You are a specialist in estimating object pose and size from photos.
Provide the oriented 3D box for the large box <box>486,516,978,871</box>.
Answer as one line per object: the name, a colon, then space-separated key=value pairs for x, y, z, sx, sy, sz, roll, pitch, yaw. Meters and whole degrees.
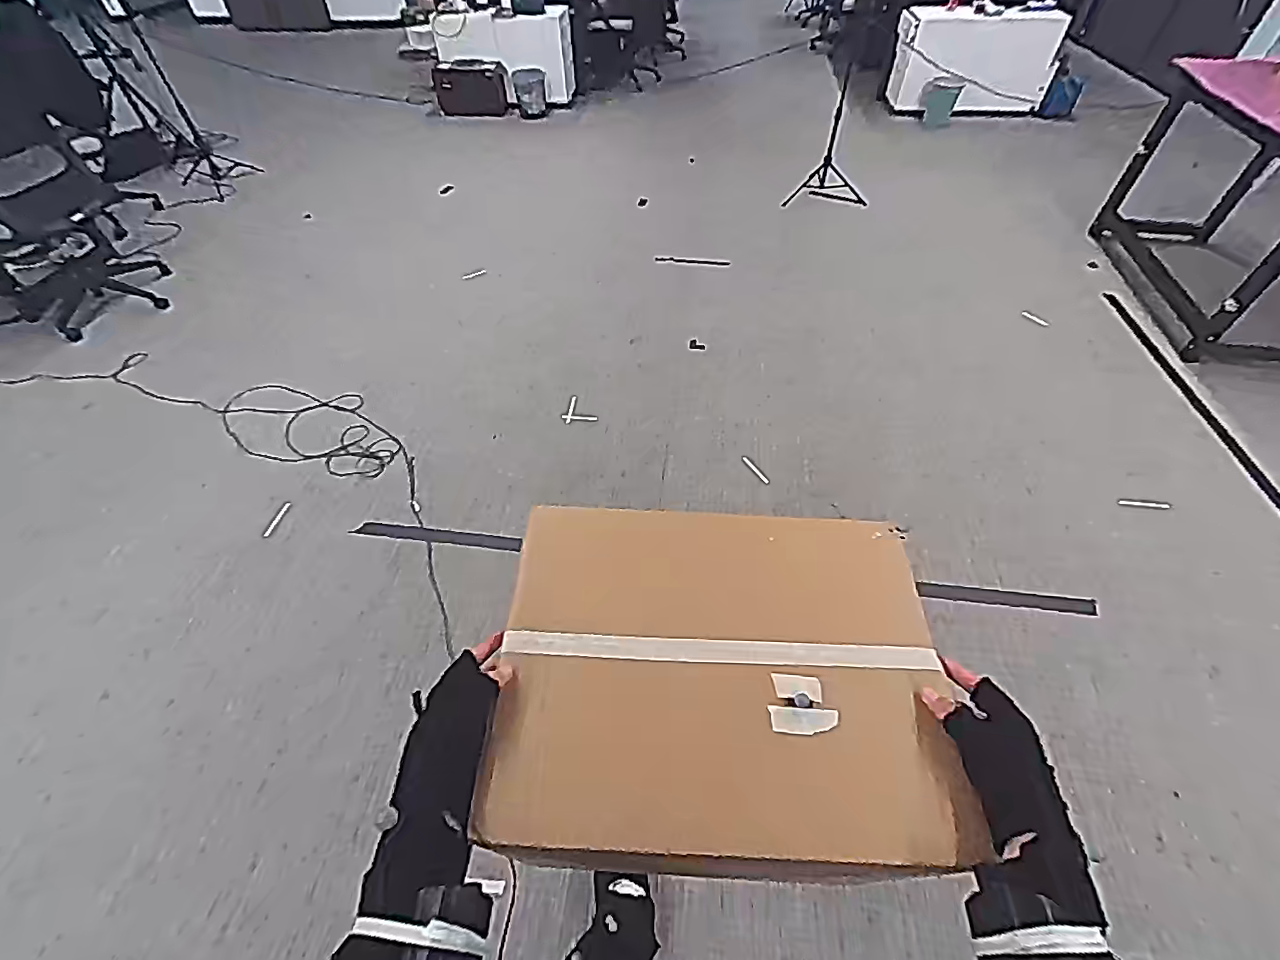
large box: x=0.072 y=0.259 z=0.636 sx=0.408 sy=0.320 sz=0.320 roll=2 pitch=52 yaw=0
